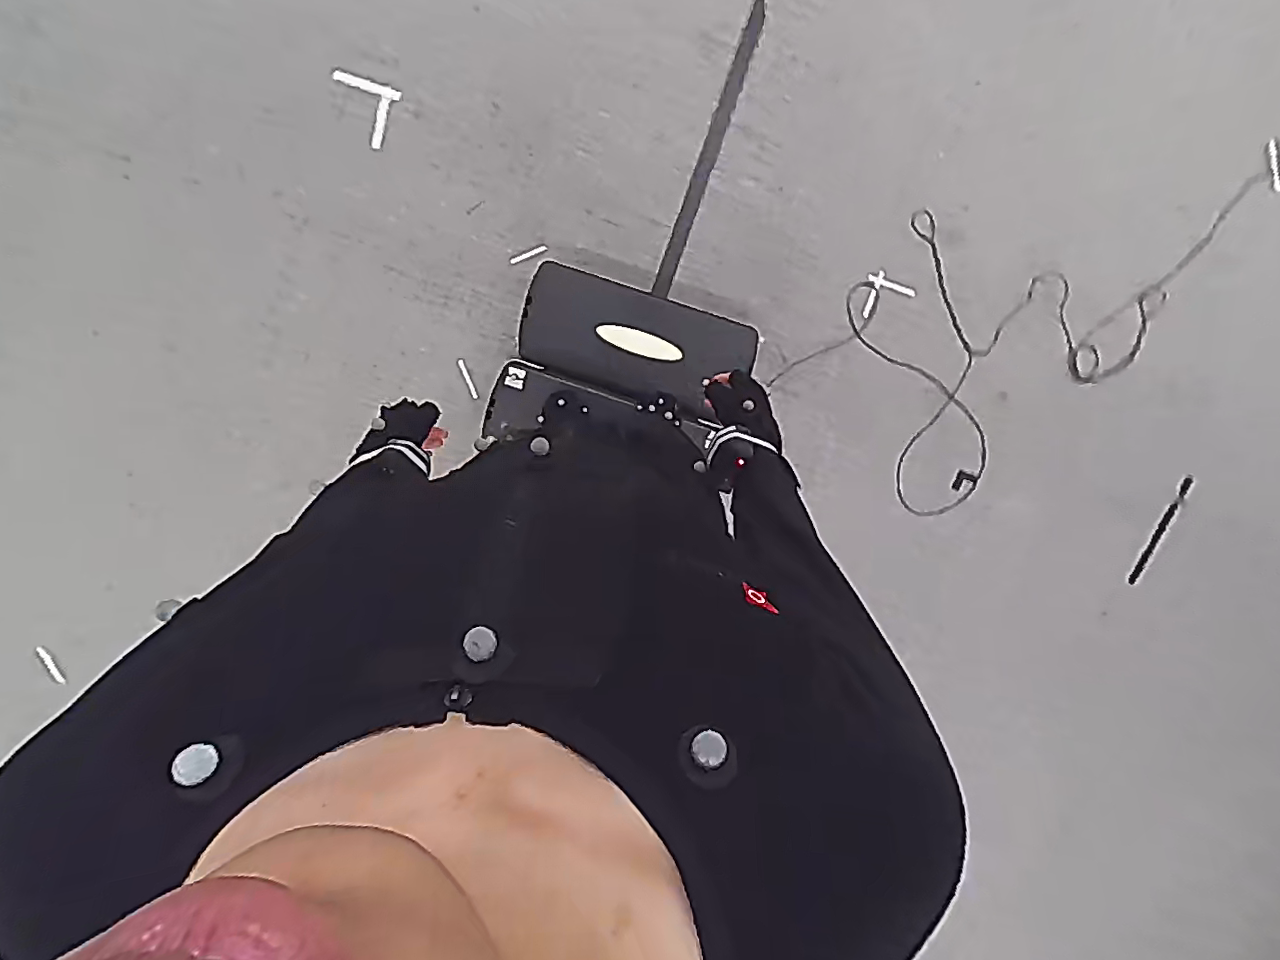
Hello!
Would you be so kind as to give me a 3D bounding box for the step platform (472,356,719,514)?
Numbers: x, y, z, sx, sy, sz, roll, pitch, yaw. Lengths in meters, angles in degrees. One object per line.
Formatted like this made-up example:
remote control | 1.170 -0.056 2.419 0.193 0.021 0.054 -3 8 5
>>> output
step platform | -0.122 -0.126 1.555 0.684 0.204 0.286 17 100 -5
